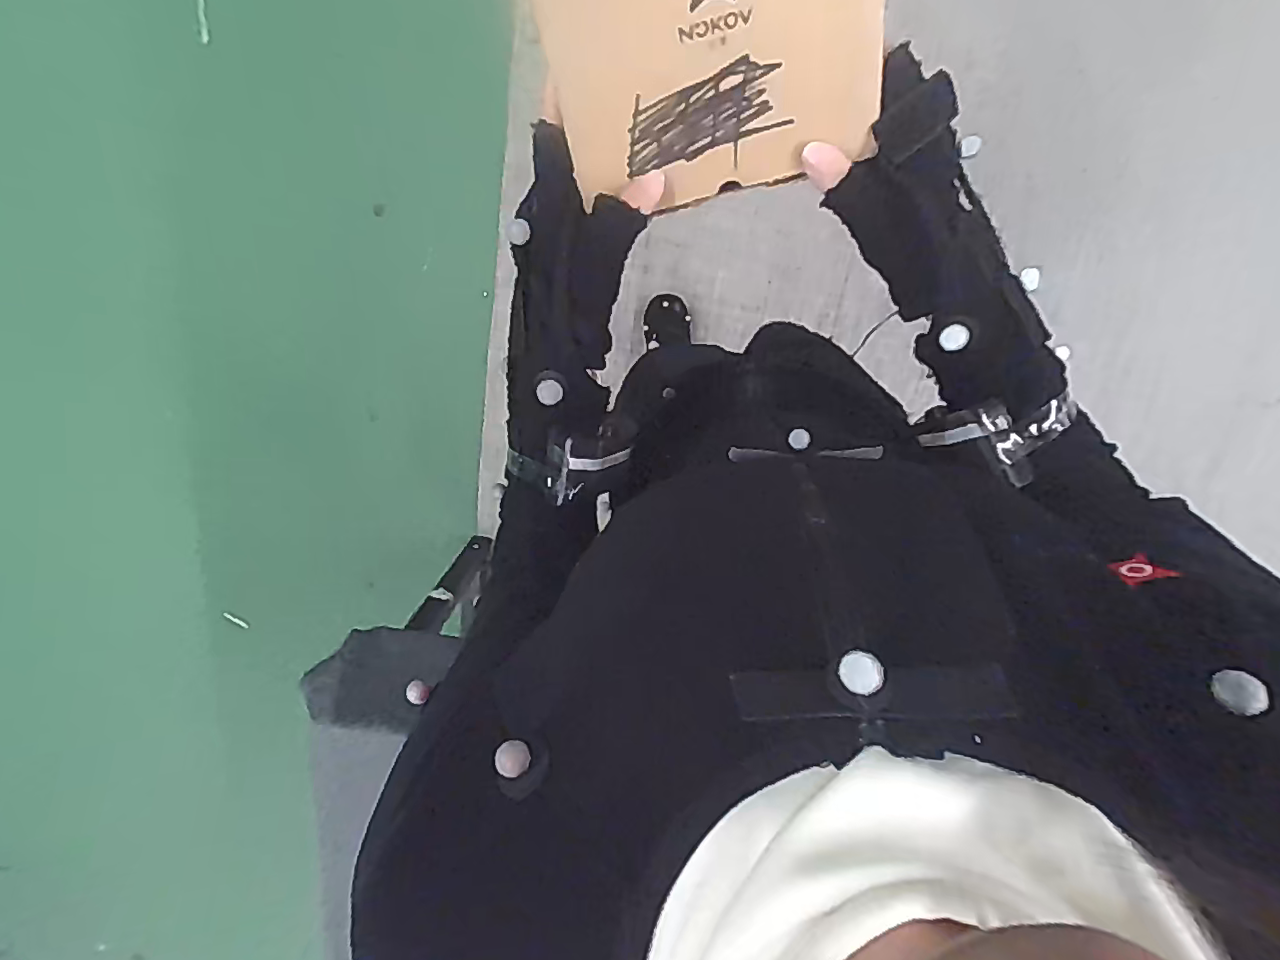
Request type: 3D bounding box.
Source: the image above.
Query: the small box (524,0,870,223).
[{"bbox_3d":[0.026,-0.287,0.321,0.168,0.176,0.179,-13,130,8],"label":"small box"}]
